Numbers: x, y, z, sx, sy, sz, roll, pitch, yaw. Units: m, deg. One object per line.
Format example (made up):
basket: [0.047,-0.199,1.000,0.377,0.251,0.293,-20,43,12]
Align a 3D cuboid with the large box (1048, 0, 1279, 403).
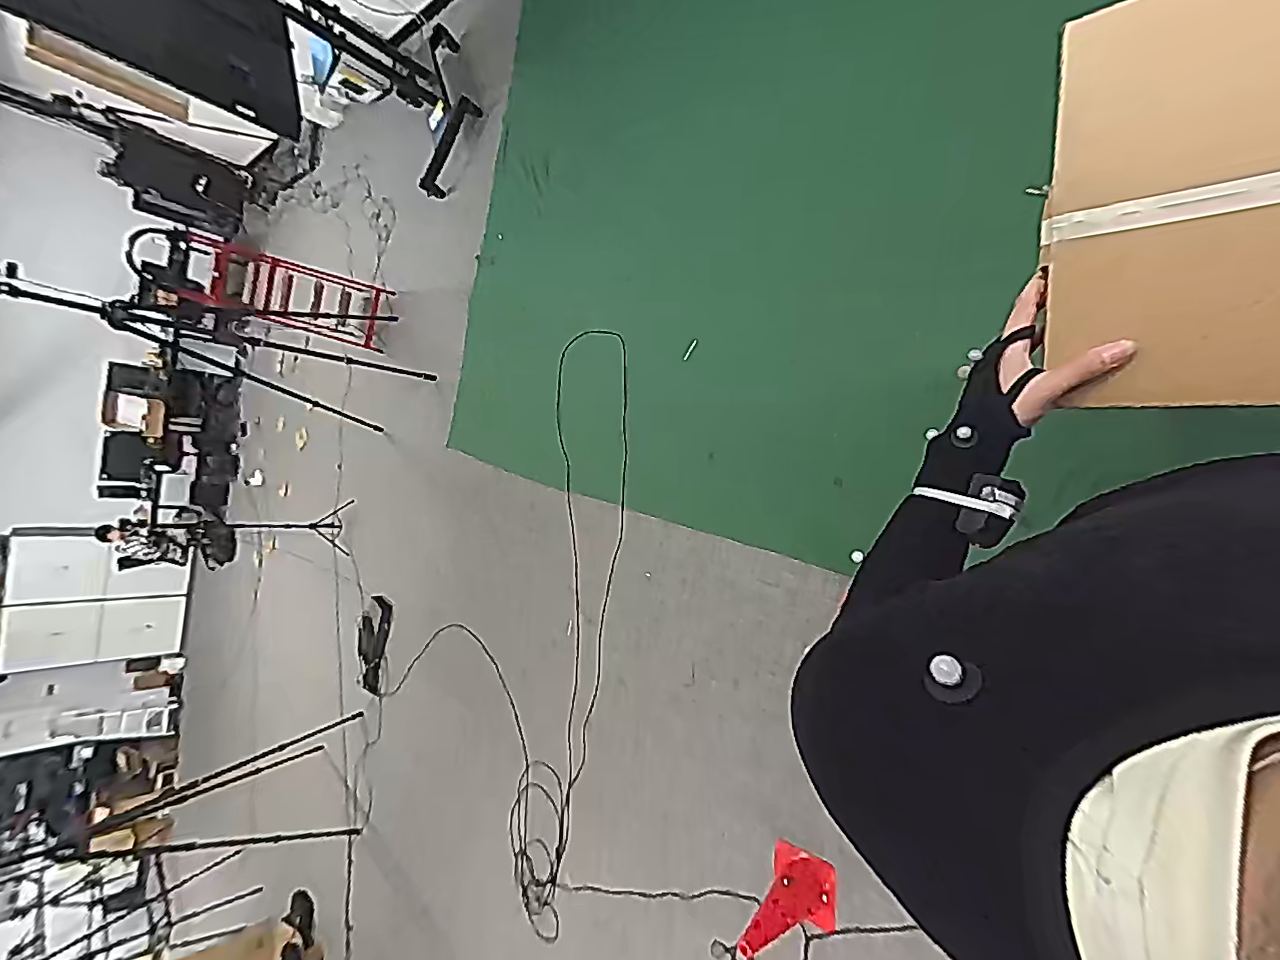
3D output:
large box: [0.611,-0.241,0.460,0.408,0.320,0.320,4,105,40]
